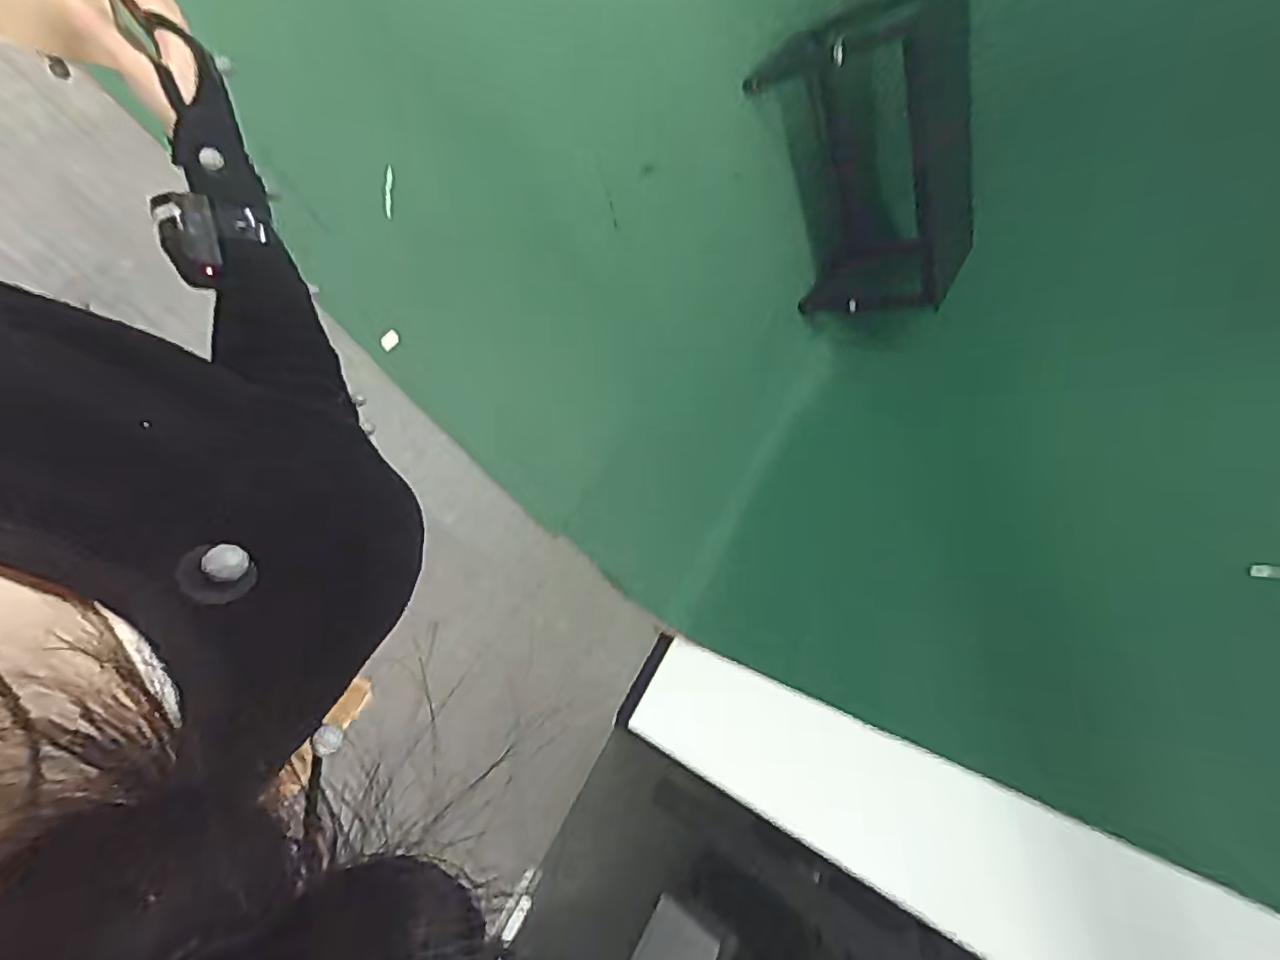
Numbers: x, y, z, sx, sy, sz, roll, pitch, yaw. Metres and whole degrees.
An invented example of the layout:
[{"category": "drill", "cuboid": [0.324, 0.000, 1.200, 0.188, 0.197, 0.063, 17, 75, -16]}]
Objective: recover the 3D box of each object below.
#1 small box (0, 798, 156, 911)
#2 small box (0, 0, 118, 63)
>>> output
[{"category": "small box", "cuboid": [-0.849, 0.587, 0.761, 0.168, 0.176, 0.179, -51, 132, -26]}, {"category": "small box", "cuboid": [-0.489, -0.409, 0.364, 0.179, 0.176, 0.168, -11, 125, -38]}]
